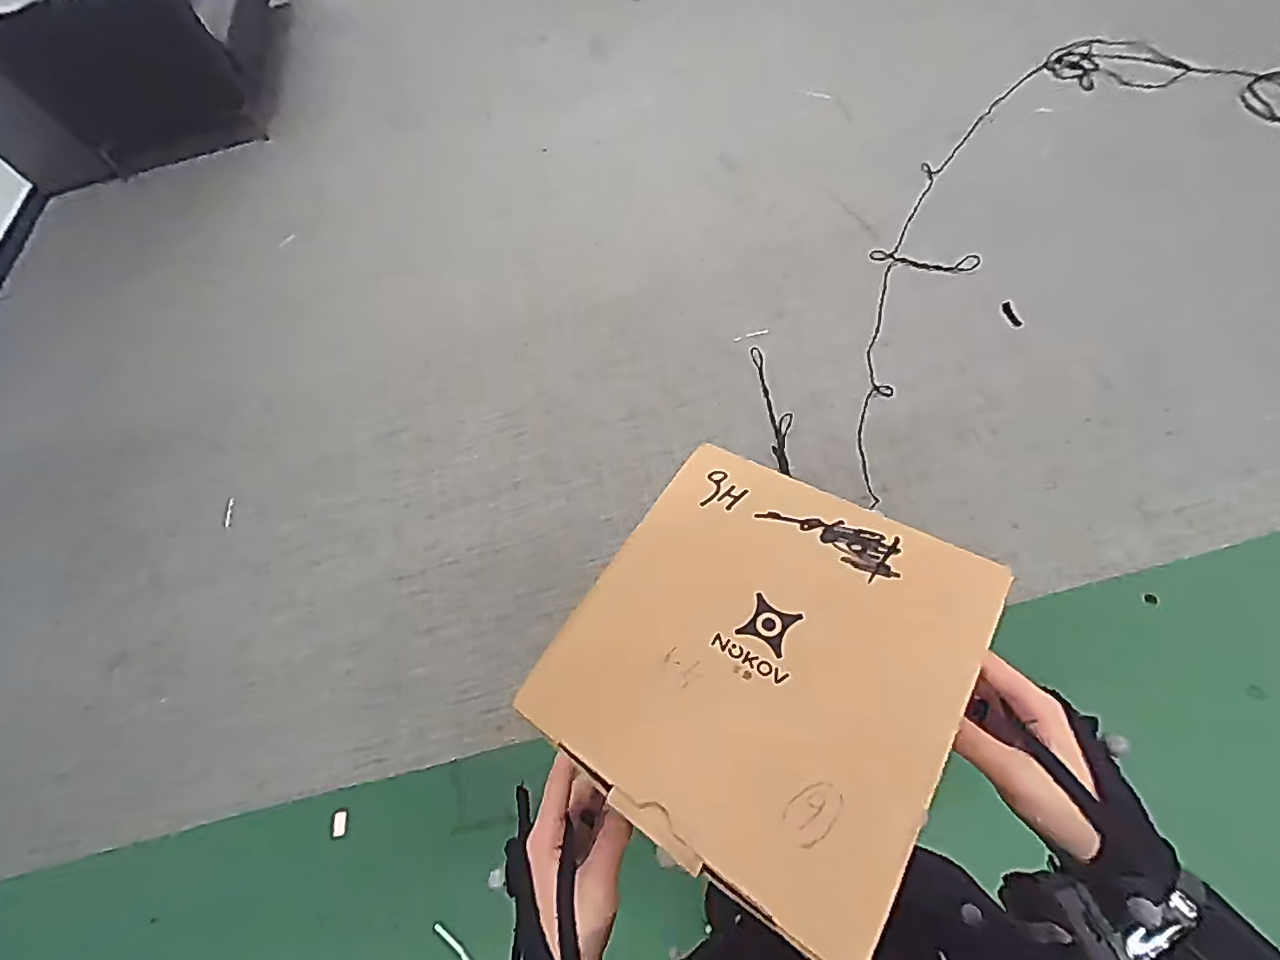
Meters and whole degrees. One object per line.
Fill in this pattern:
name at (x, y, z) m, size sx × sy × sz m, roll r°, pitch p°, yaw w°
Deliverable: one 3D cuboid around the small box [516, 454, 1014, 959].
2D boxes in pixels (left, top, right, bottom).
small box at (0.070, 0.123, 0.309) m, size 0.168 × 0.176 × 0.179 m, roll 26°, pitch 65°, yaw 28°
